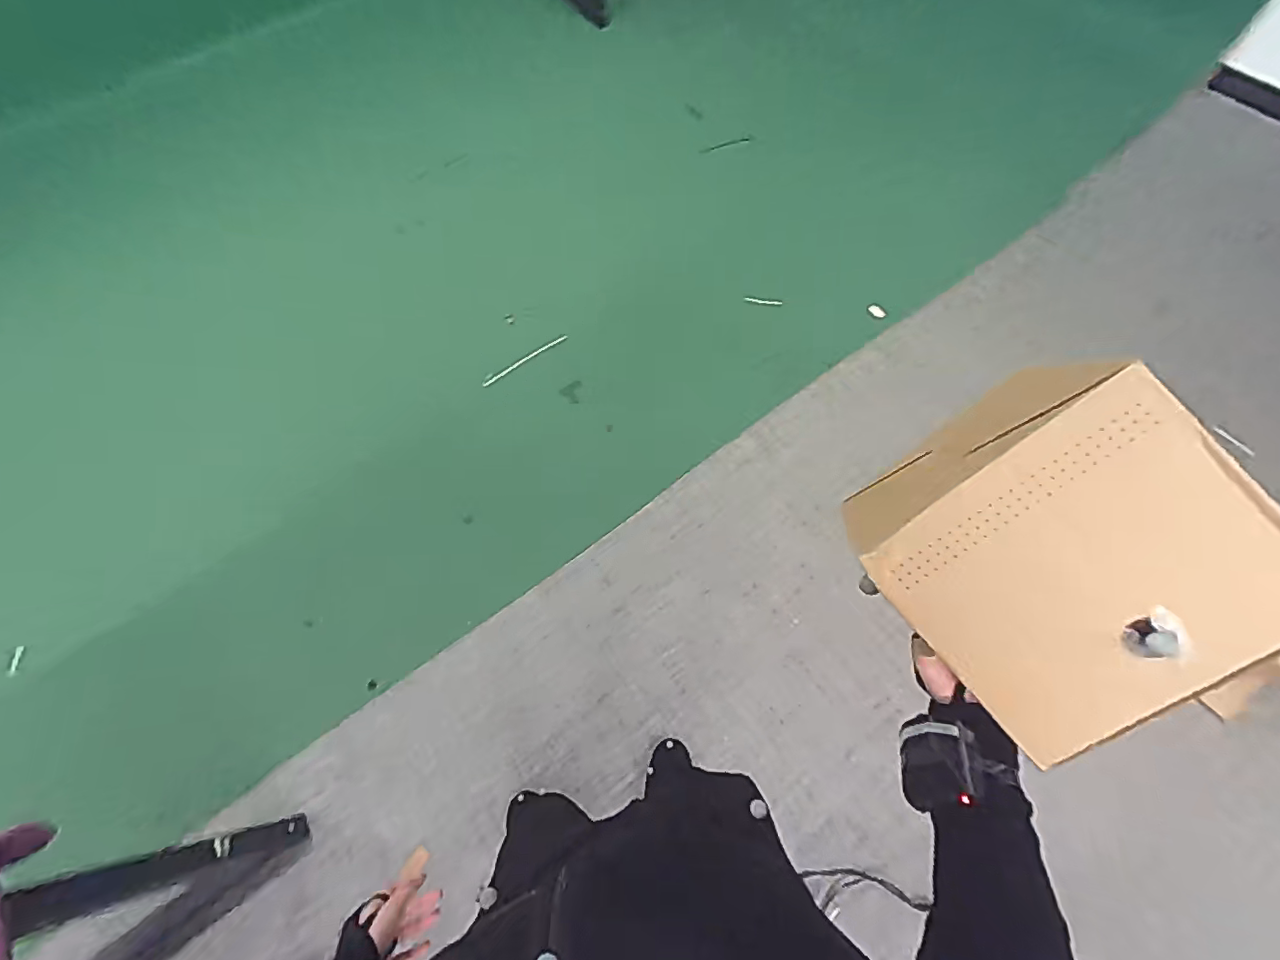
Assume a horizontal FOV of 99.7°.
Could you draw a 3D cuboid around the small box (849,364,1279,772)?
[{"bbox_3d":[0.273,0.040,0.363,0.179,0.168,0.176,-41,86,19],"label":"small box"}]
